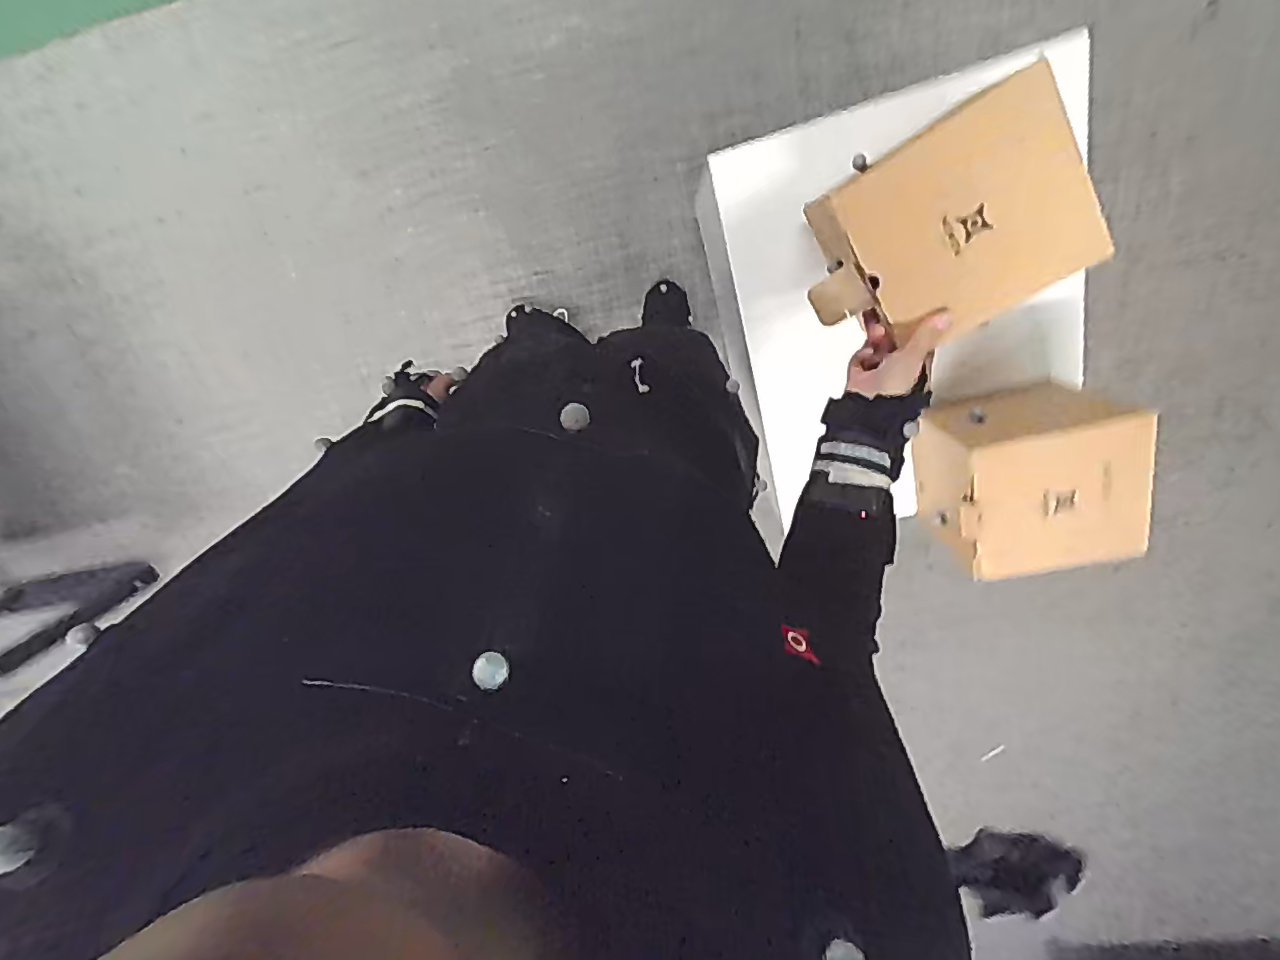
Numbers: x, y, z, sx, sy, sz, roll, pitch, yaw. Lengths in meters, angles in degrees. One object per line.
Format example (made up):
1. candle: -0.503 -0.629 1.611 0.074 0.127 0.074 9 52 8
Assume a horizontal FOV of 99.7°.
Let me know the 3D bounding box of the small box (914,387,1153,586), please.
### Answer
1. small box: 0.446 0.001 0.646 0.179 0.176 0.168 -13 111 9

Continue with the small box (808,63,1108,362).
1. small box: 0.284 -0.244 0.523 0.179 0.176 0.168 -29 107 20
